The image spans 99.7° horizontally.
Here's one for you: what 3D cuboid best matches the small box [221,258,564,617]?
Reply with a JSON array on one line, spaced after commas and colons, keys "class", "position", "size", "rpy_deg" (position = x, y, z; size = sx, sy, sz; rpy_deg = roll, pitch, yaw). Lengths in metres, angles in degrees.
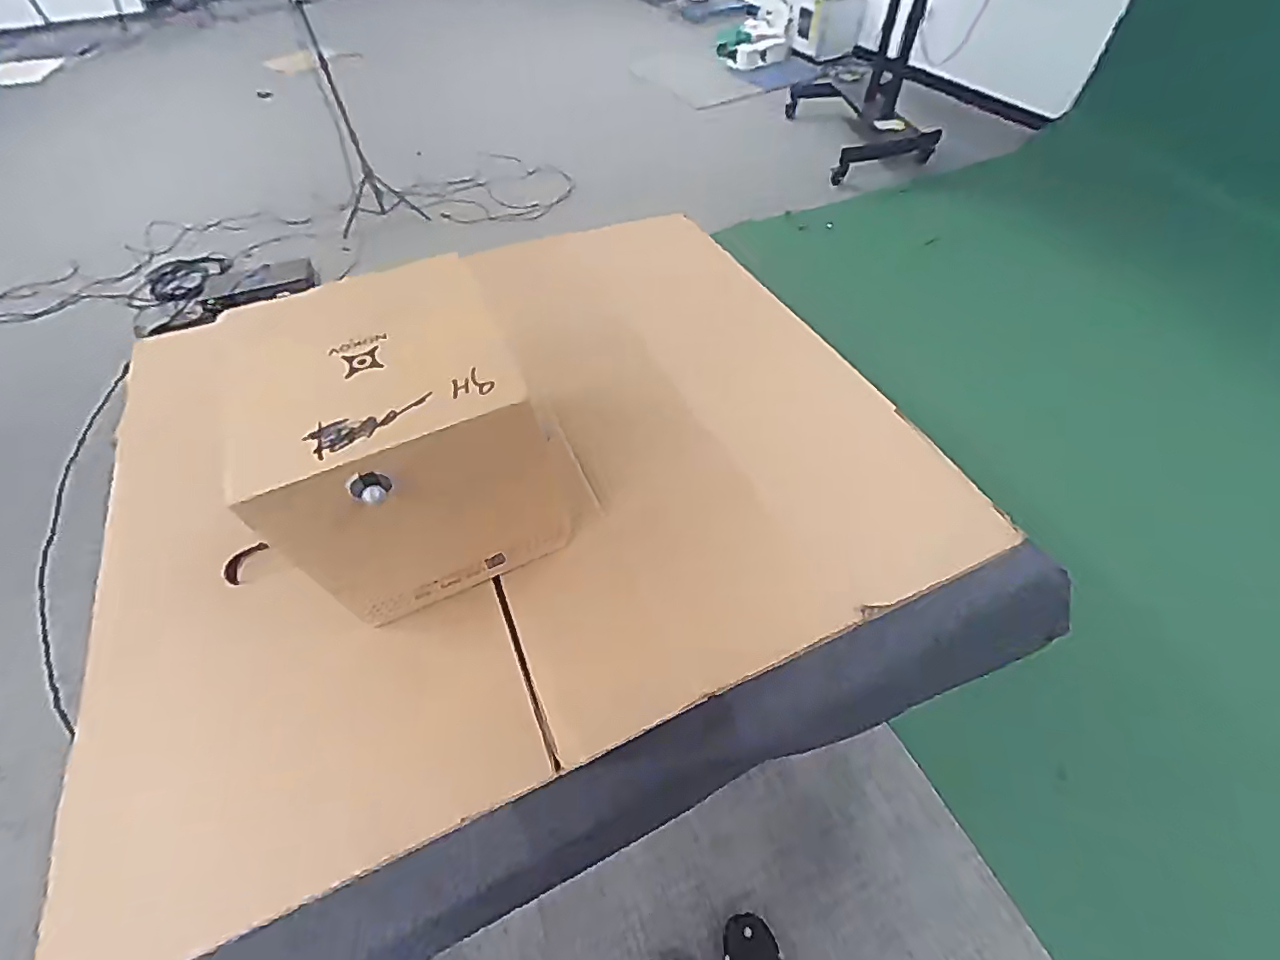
[{"class": "small box", "position": [-0.171, -0.030, 0.406], "size": [0.168, 0.176, 0.179], "rpy_deg": [-23, 55, -12]}]
